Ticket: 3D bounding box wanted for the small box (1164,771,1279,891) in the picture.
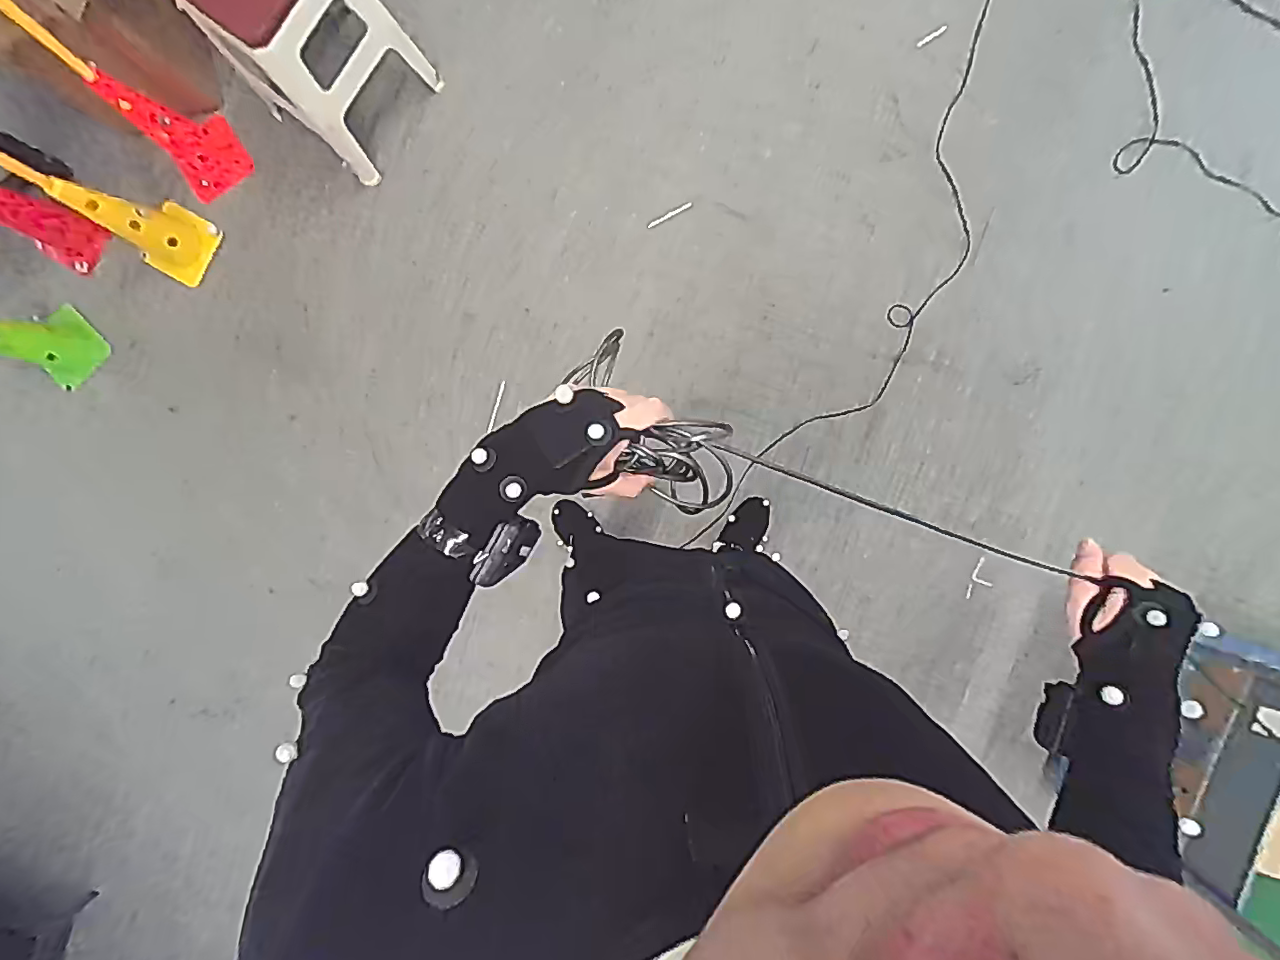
[{"bbox_3d":[1.472,0.855,1.327,0.179,0.176,0.168,20,93,3],"label":"small box"}]
